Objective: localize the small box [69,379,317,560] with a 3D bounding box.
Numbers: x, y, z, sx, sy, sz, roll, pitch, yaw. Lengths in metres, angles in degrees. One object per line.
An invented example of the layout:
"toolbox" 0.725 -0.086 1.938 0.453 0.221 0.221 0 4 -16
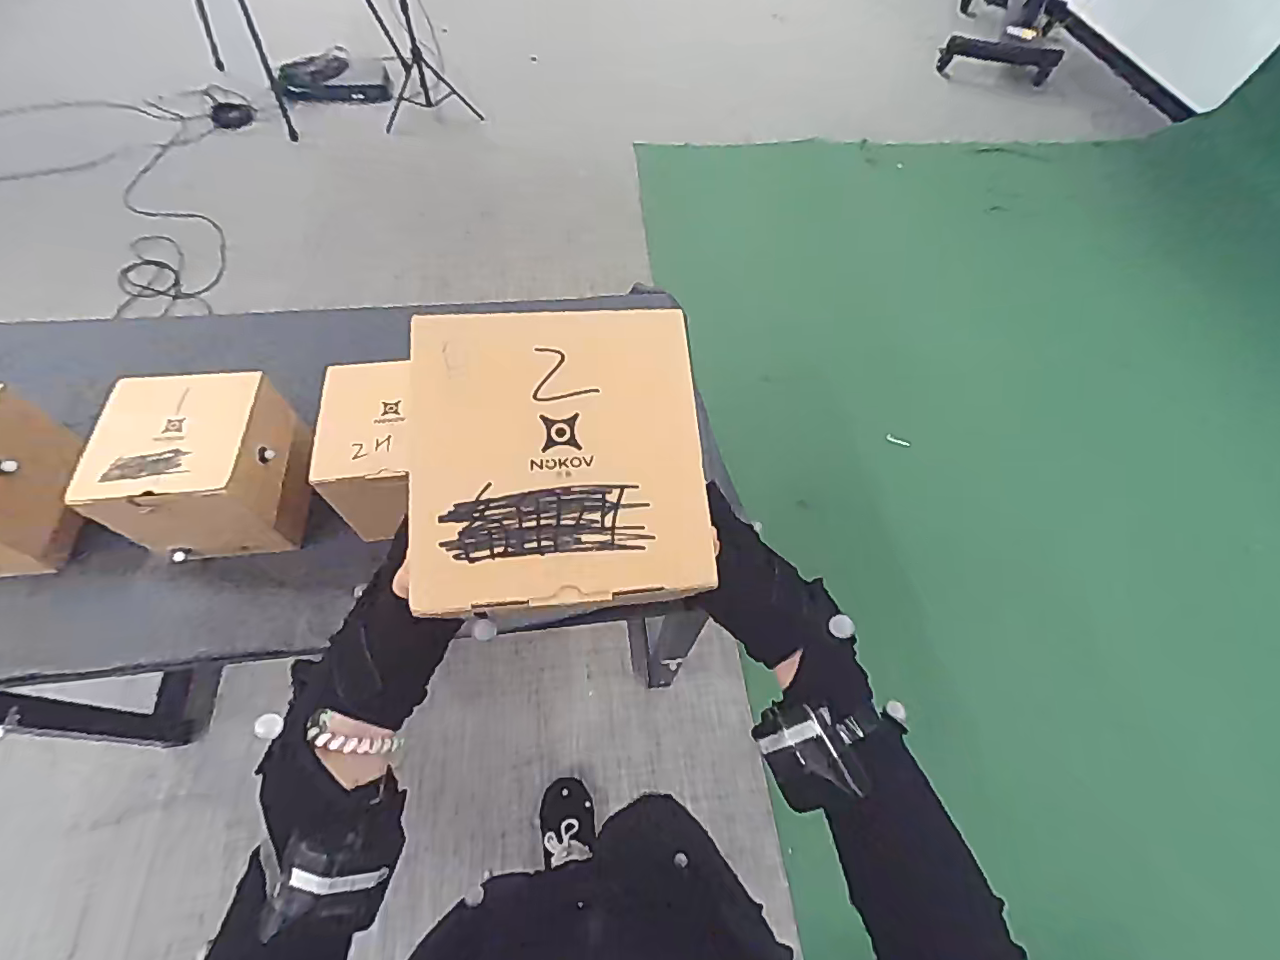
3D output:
"small box" -0.543 -0.005 0.694 0.168 0.176 0.179 -4 59 -7

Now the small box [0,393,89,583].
"small box" -0.829 0.016 0.662 0.168 0.176 0.179 -5 59 -8

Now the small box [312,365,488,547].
"small box" -0.303 -0.029 0.725 0.168 0.176 0.179 -6 60 -7
